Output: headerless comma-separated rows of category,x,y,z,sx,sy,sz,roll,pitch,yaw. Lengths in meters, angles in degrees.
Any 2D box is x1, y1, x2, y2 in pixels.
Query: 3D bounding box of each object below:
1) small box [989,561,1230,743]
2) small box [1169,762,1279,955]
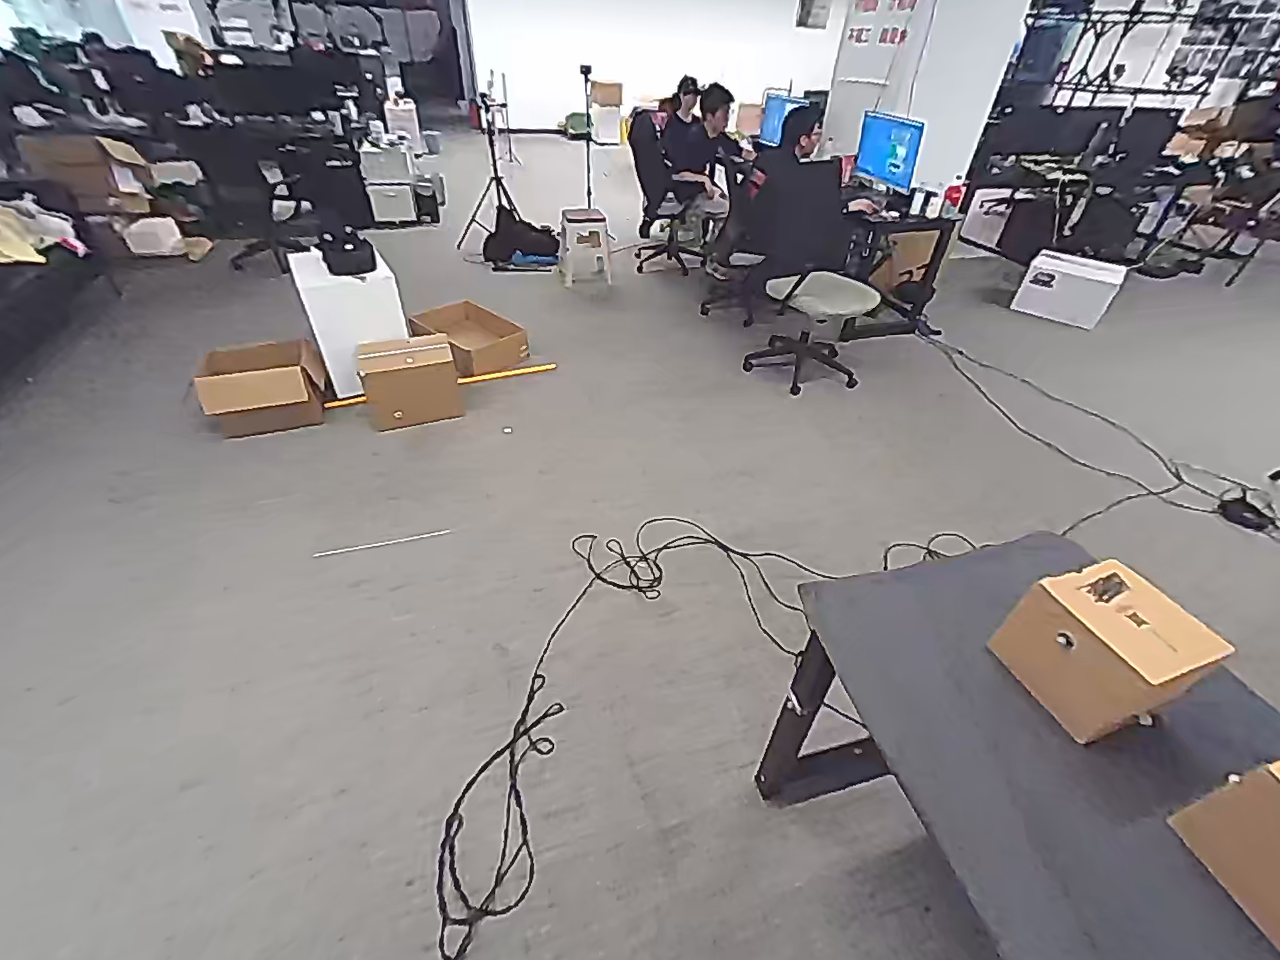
small box,0.675,0.253,0.806,0.168,0.176,0.179,-11,42,-16
small box,0.776,0.425,0.599,0.168,0.176,0.179,-6,40,-12
